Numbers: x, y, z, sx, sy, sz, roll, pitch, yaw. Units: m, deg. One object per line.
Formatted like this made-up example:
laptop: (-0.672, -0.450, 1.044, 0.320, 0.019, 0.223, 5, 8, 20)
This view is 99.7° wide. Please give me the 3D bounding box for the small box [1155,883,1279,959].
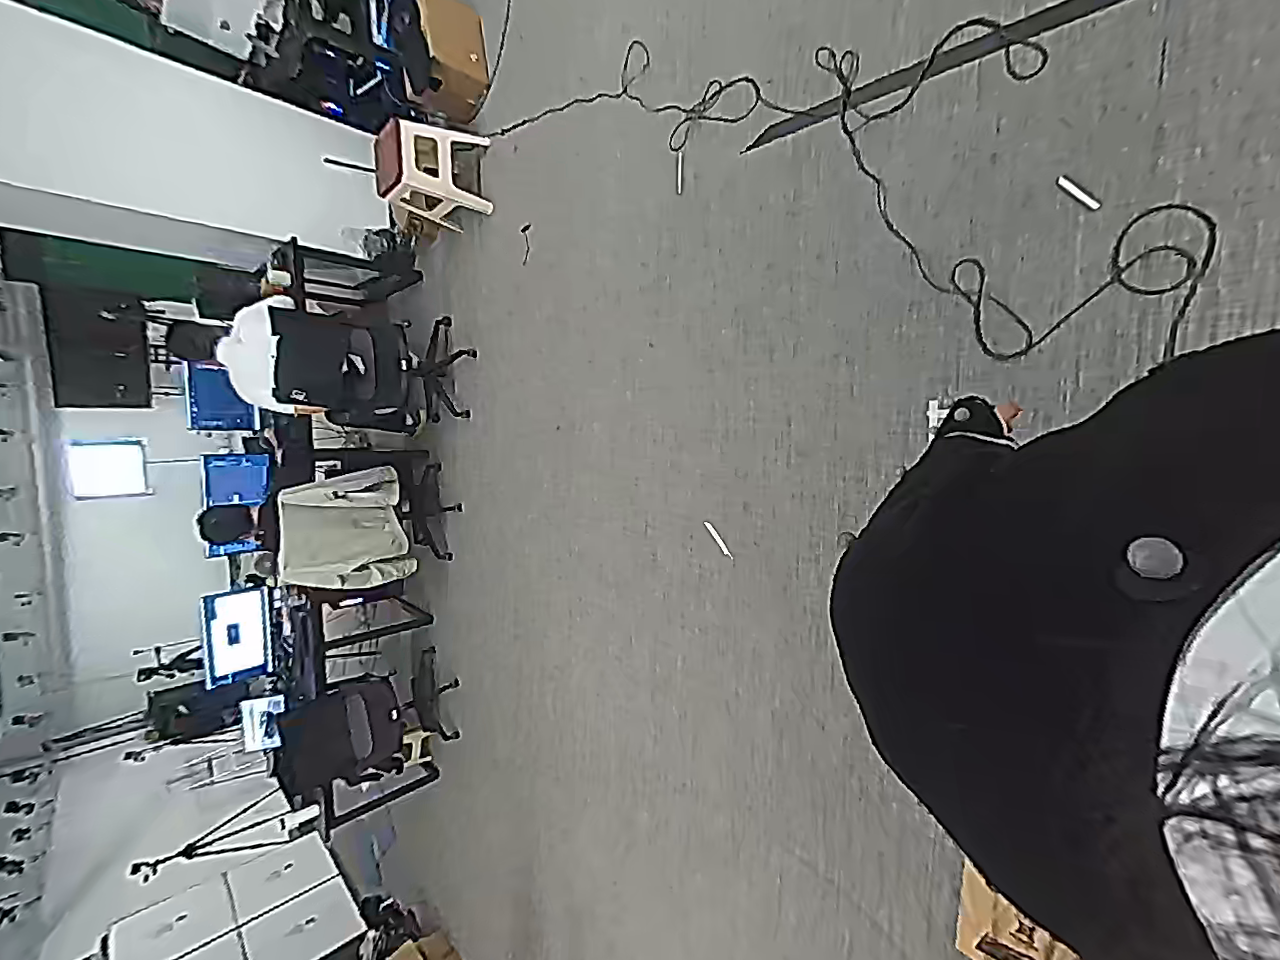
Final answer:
small box: (0.752, 0.661, 0.669, 0.168, 0.176, 0.179, 10, 99, 44)
